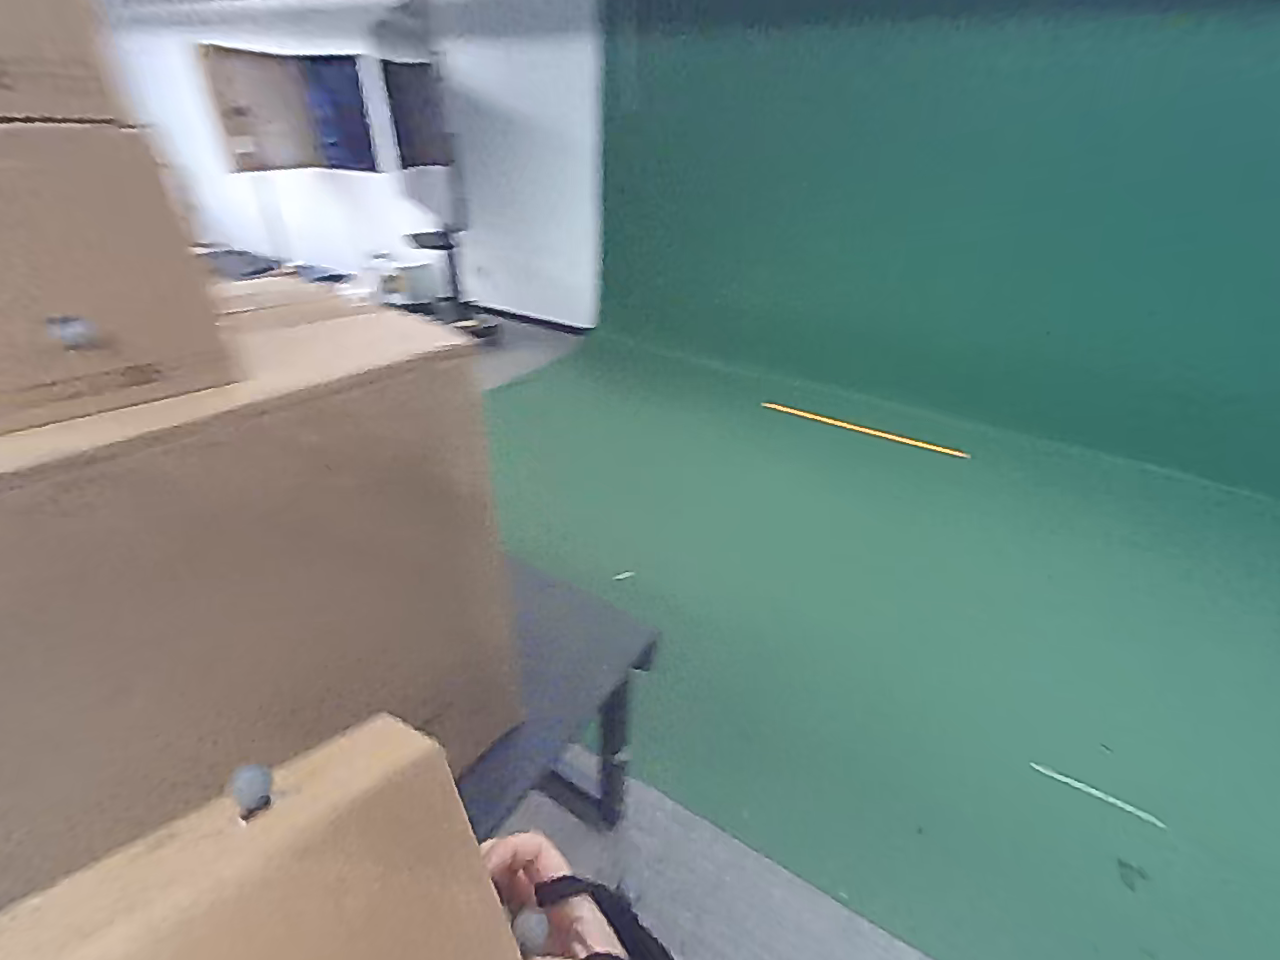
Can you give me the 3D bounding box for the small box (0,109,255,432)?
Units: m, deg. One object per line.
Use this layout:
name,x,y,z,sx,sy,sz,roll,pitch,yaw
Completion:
small box,-0.411,-0.154,0.377,0.179,0.176,0.168,30,41,31
